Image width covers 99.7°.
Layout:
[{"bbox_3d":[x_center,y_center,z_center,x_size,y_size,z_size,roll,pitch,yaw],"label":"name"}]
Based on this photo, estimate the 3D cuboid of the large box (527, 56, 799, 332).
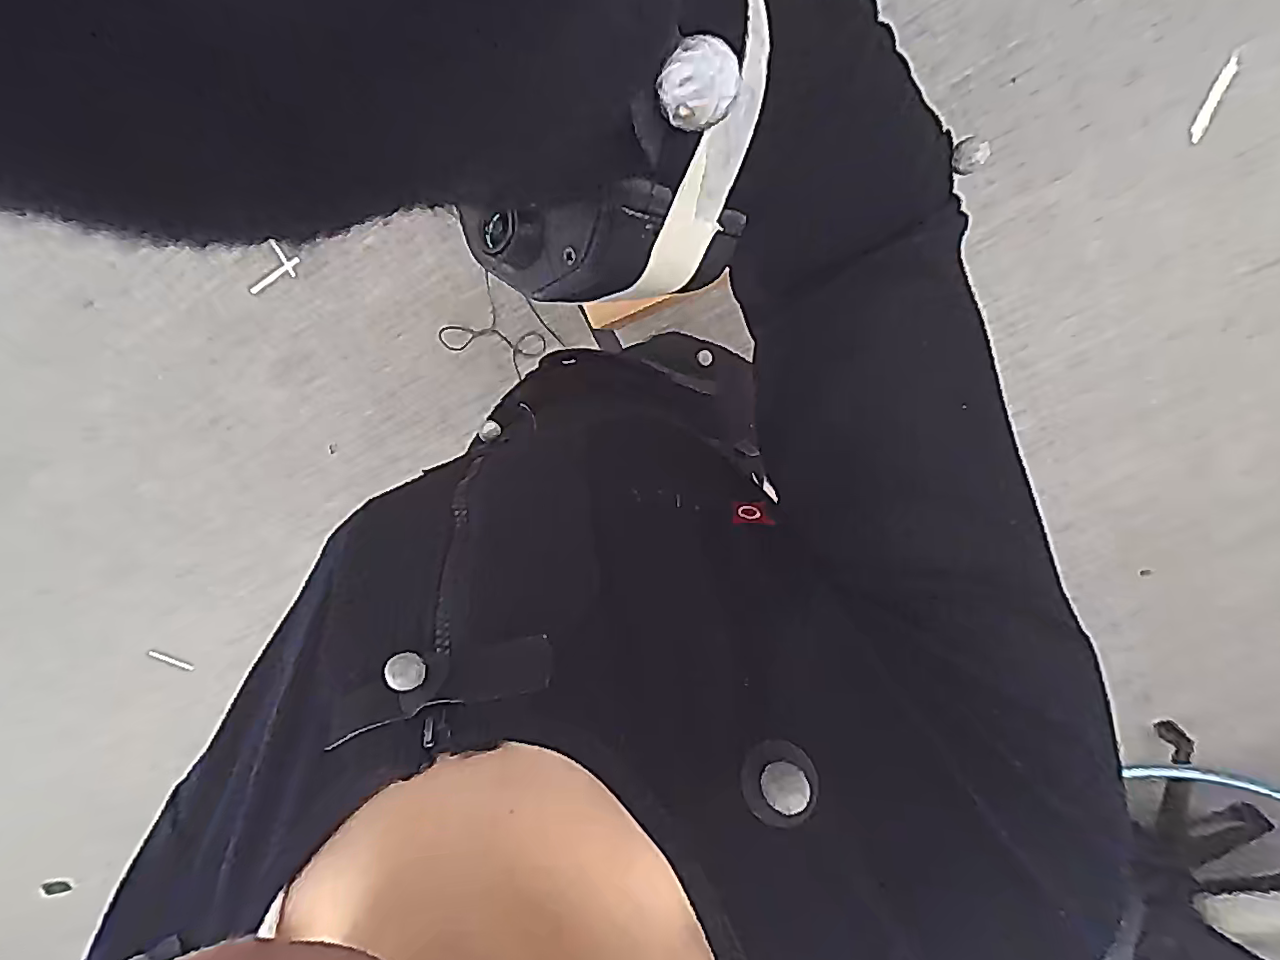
[{"bbox_3d":[0.050,-0.523,1.083,0.408,0.320,0.320,-21,102,9],"label":"large box"}]
